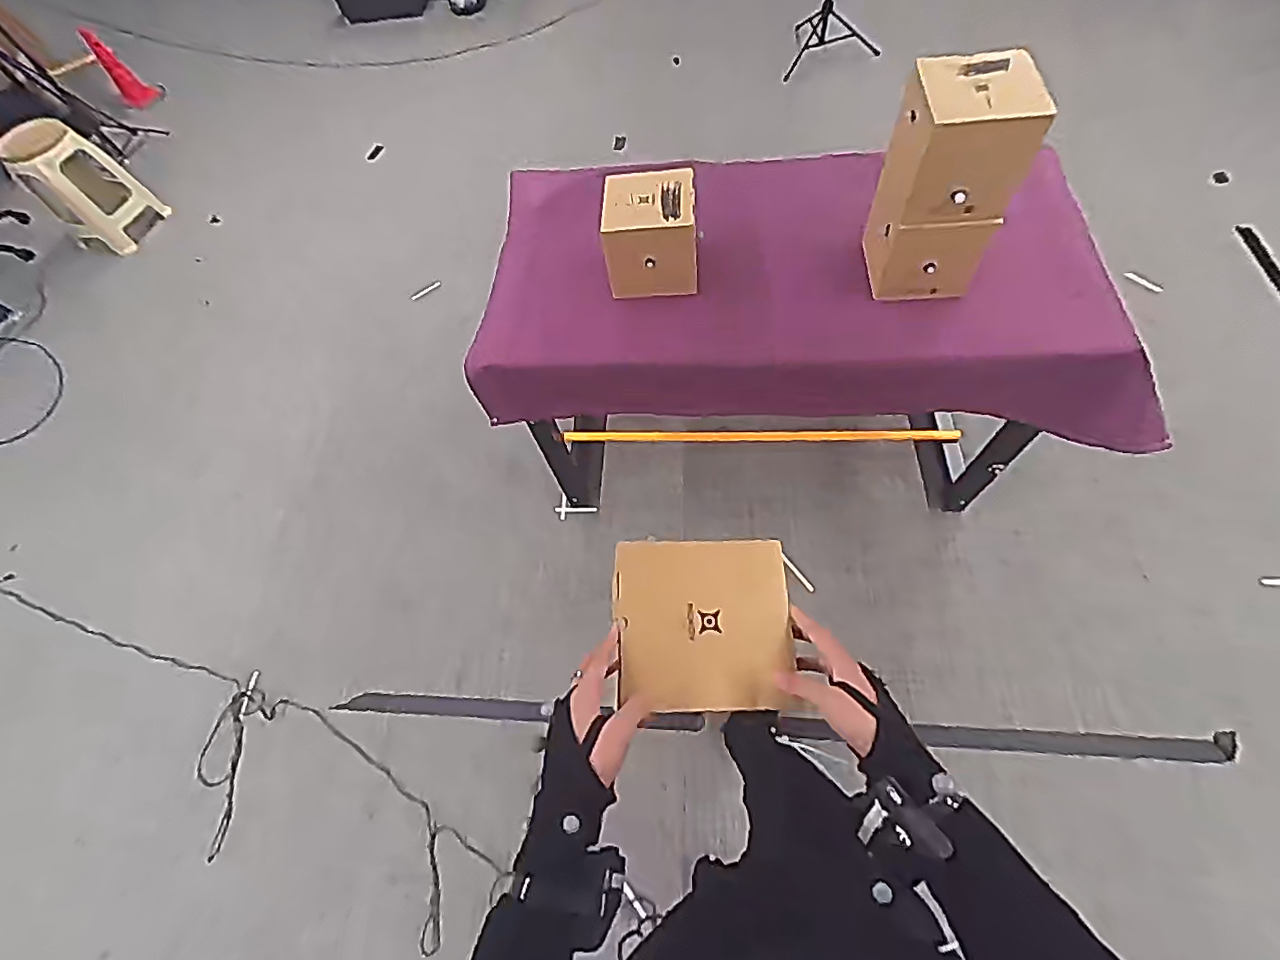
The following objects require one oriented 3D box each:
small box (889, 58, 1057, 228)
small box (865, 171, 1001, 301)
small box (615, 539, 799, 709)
[{"bbox_3d":[0.519,-0.539,0.875,0.168,0.176,0.179,0,63,8],"label":"small box"},{"bbox_3d":[0.535,-0.455,1.016,0.168,0.176,0.179,0,63,7],"label":"small box"},{"bbox_3d":[0.061,0.167,0.614,0.179,0.176,0.168,-1,68,-3],"label":"small box"}]
